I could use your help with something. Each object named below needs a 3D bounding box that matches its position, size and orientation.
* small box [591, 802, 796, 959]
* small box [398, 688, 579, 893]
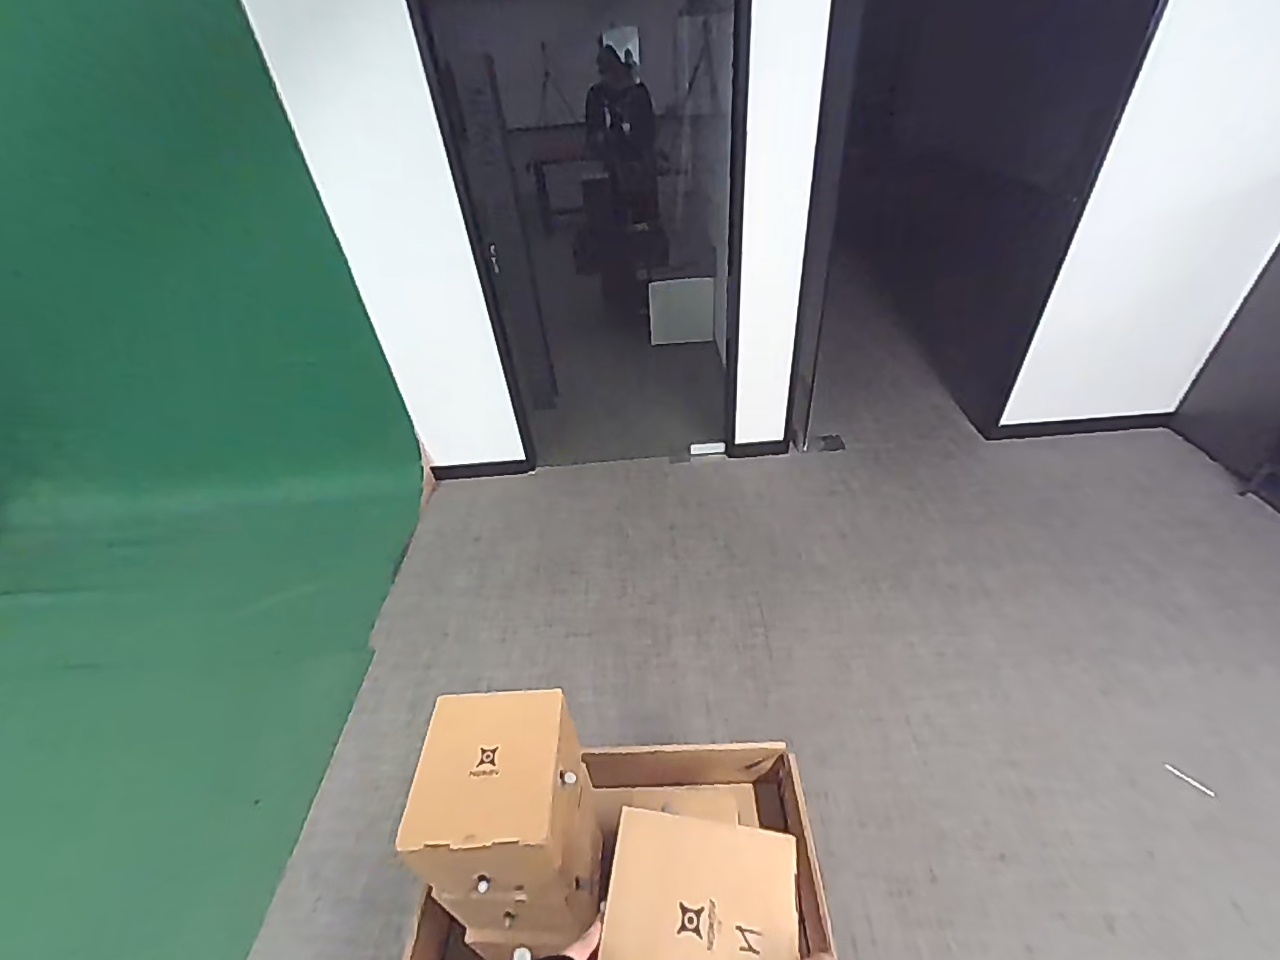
[{"bbox_3d":[0.055,0.448,0.538,0.179,0.176,0.168,5,46,9],"label":"small box"},{"bbox_3d":[-0.172,0.388,0.682,0.168,0.176,0.179,-4,39,2],"label":"small box"}]
